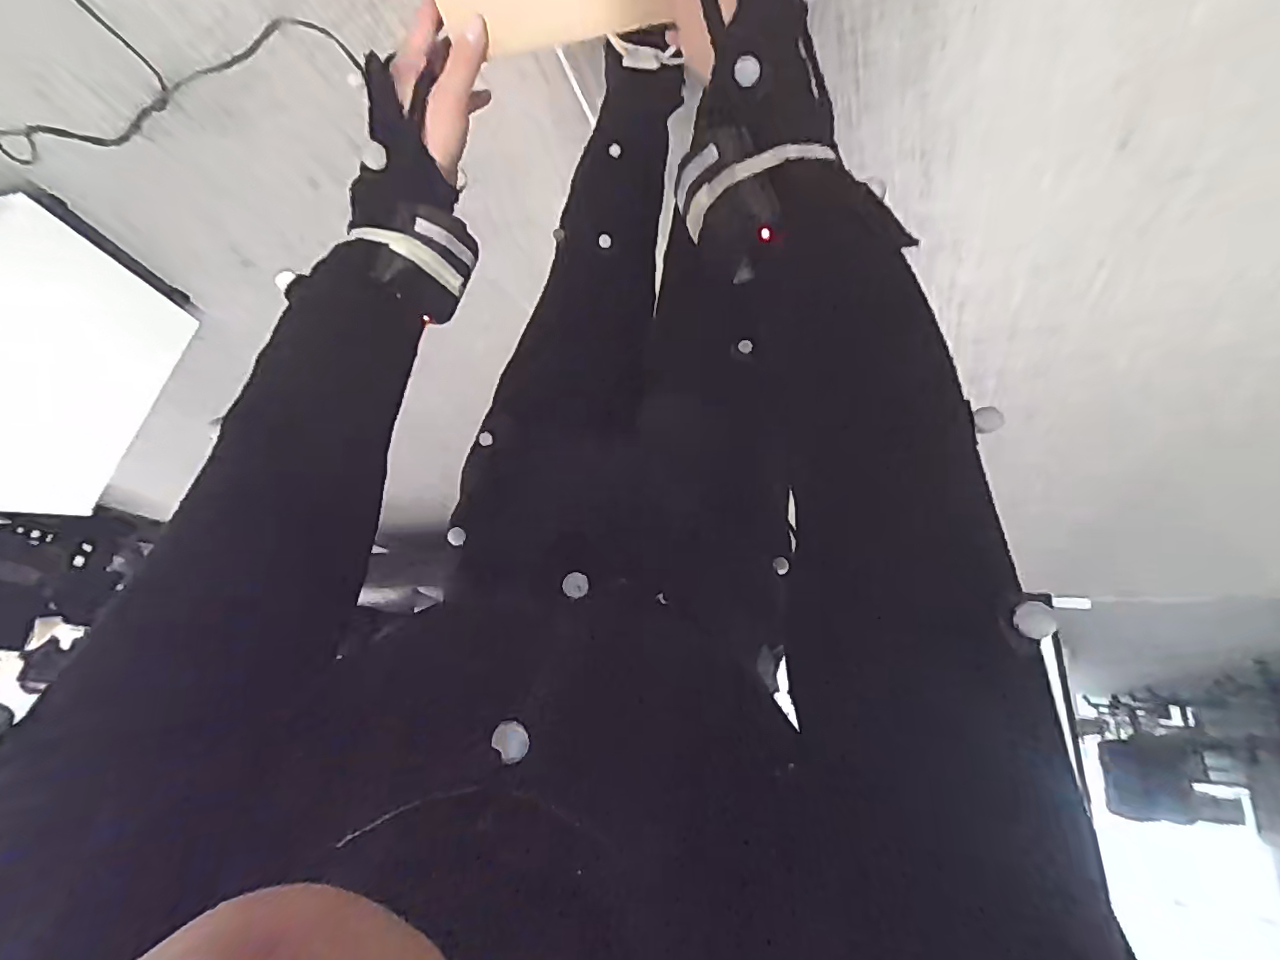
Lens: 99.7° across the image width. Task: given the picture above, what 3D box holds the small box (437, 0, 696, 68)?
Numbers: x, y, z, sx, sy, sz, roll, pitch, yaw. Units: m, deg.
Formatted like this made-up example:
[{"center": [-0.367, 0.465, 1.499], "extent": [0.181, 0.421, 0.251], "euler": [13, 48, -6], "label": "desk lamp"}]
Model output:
[{"center": [-0.047, -0.397, 0.328], "extent": [0.168, 0.176, 0.179], "euler": [0, 145, 14], "label": "small box"}]
